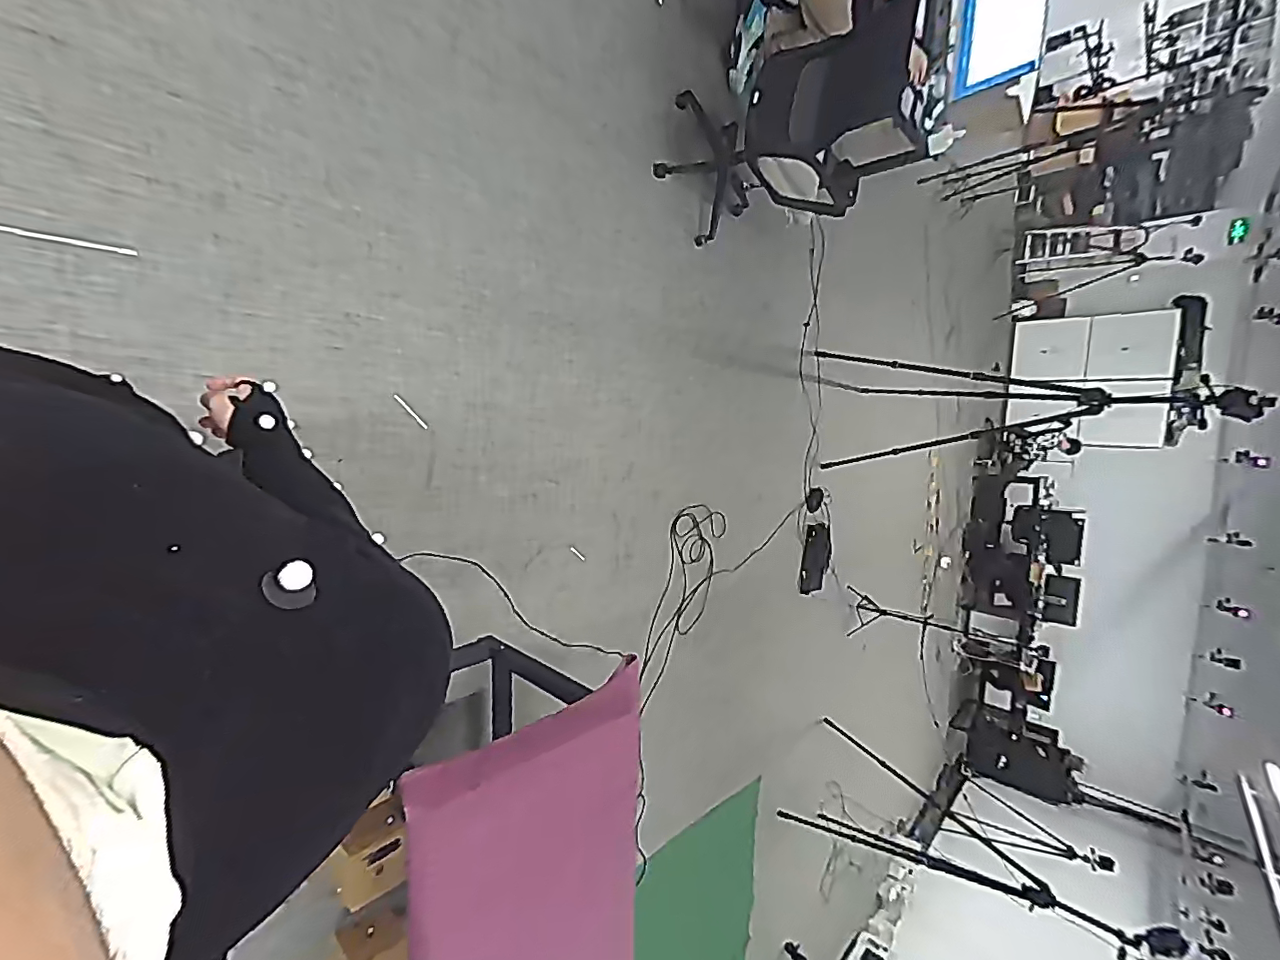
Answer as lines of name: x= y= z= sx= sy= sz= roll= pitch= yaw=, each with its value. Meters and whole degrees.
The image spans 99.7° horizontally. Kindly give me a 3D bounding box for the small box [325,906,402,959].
small box: x=-0.848 y=1.455 z=1.650 sx=0.168 sy=0.176 sz=0.179 roll=0 pitch=95 yaw=-47
